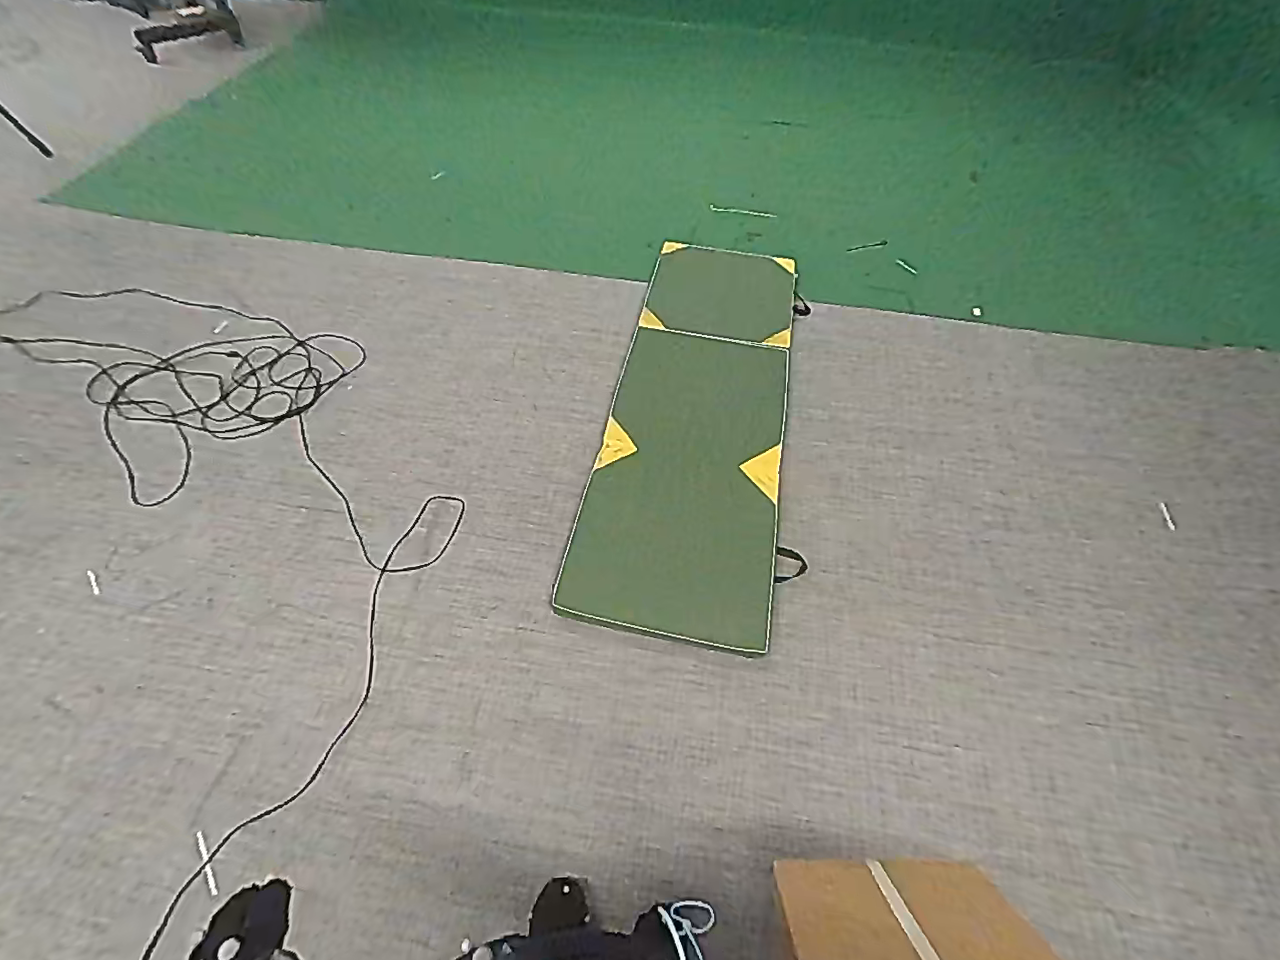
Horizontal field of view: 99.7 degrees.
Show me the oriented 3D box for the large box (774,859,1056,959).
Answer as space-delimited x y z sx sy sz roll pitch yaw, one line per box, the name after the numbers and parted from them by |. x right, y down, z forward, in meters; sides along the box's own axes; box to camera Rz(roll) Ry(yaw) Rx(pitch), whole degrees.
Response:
0.357 0.734 0.648 0.320 0.408 0.320 -3 82 5 | large box
